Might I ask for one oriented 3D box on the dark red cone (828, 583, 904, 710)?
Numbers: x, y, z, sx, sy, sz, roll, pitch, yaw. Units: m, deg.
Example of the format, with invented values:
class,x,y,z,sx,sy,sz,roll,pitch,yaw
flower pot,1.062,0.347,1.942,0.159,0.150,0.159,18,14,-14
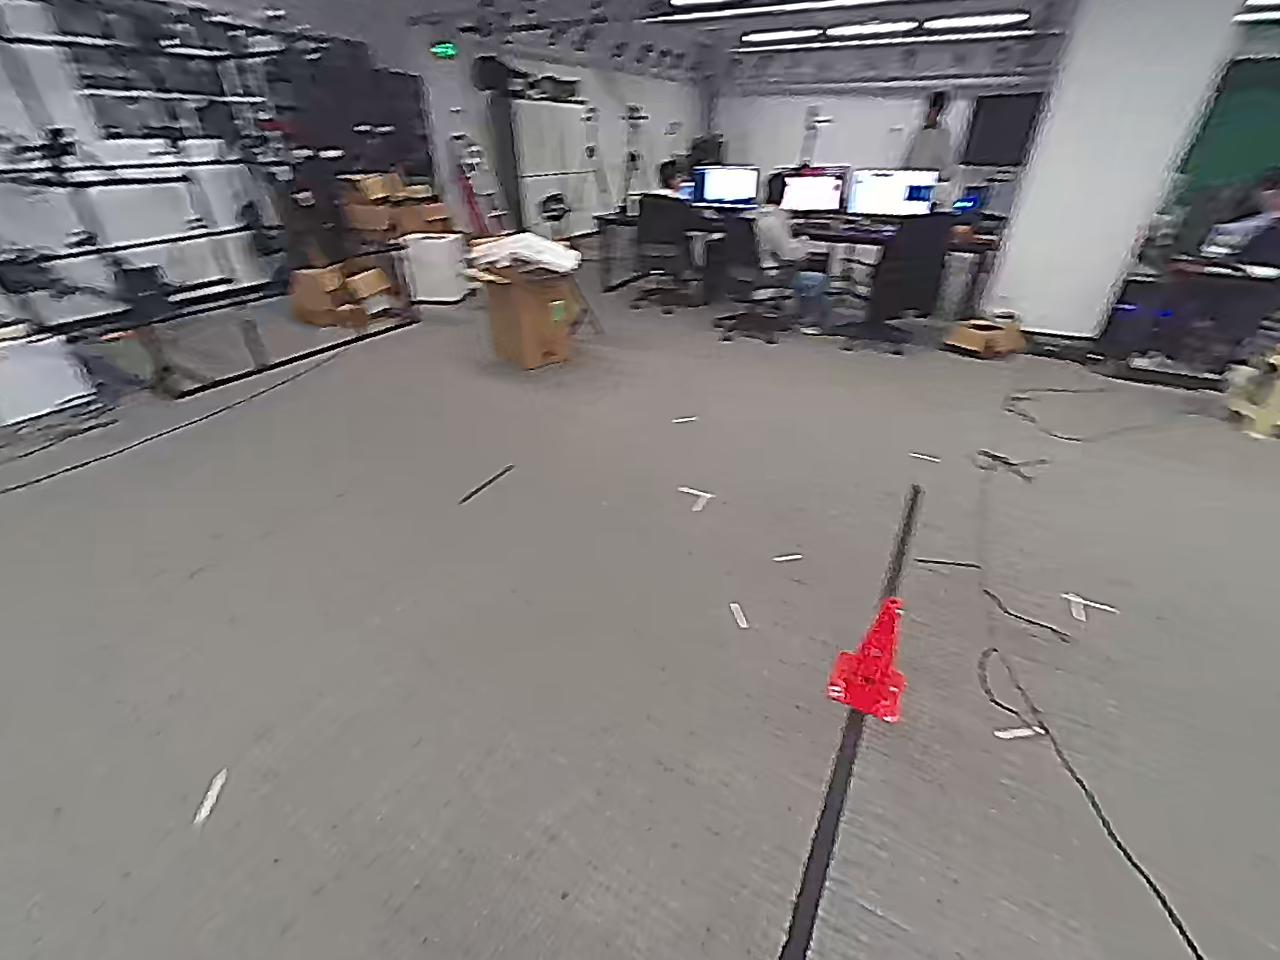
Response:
class,x,y,z,sx,sy,sz,roll,pitch,yaw
dark red cone,0.696,0.459,1.575,0.201,0.394,0.202,17,35,23
